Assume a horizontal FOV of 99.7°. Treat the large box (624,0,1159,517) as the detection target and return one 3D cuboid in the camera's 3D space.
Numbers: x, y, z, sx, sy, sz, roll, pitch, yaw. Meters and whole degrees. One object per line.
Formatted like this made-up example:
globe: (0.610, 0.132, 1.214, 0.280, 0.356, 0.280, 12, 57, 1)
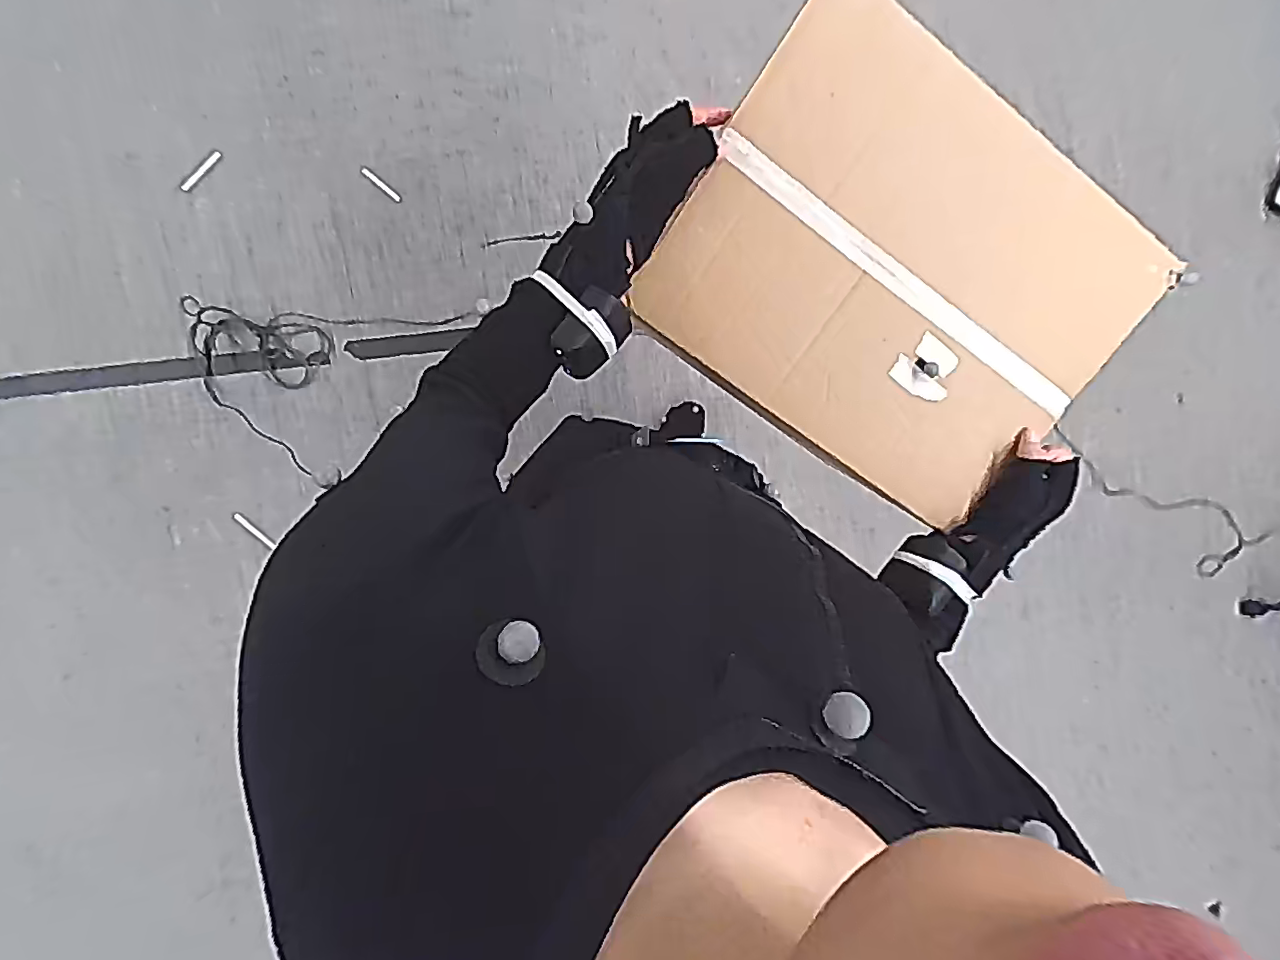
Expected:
large box: (0.228, -0.223, 0.639, 0.408, 0.320, 0.320, 33, 102, -10)
